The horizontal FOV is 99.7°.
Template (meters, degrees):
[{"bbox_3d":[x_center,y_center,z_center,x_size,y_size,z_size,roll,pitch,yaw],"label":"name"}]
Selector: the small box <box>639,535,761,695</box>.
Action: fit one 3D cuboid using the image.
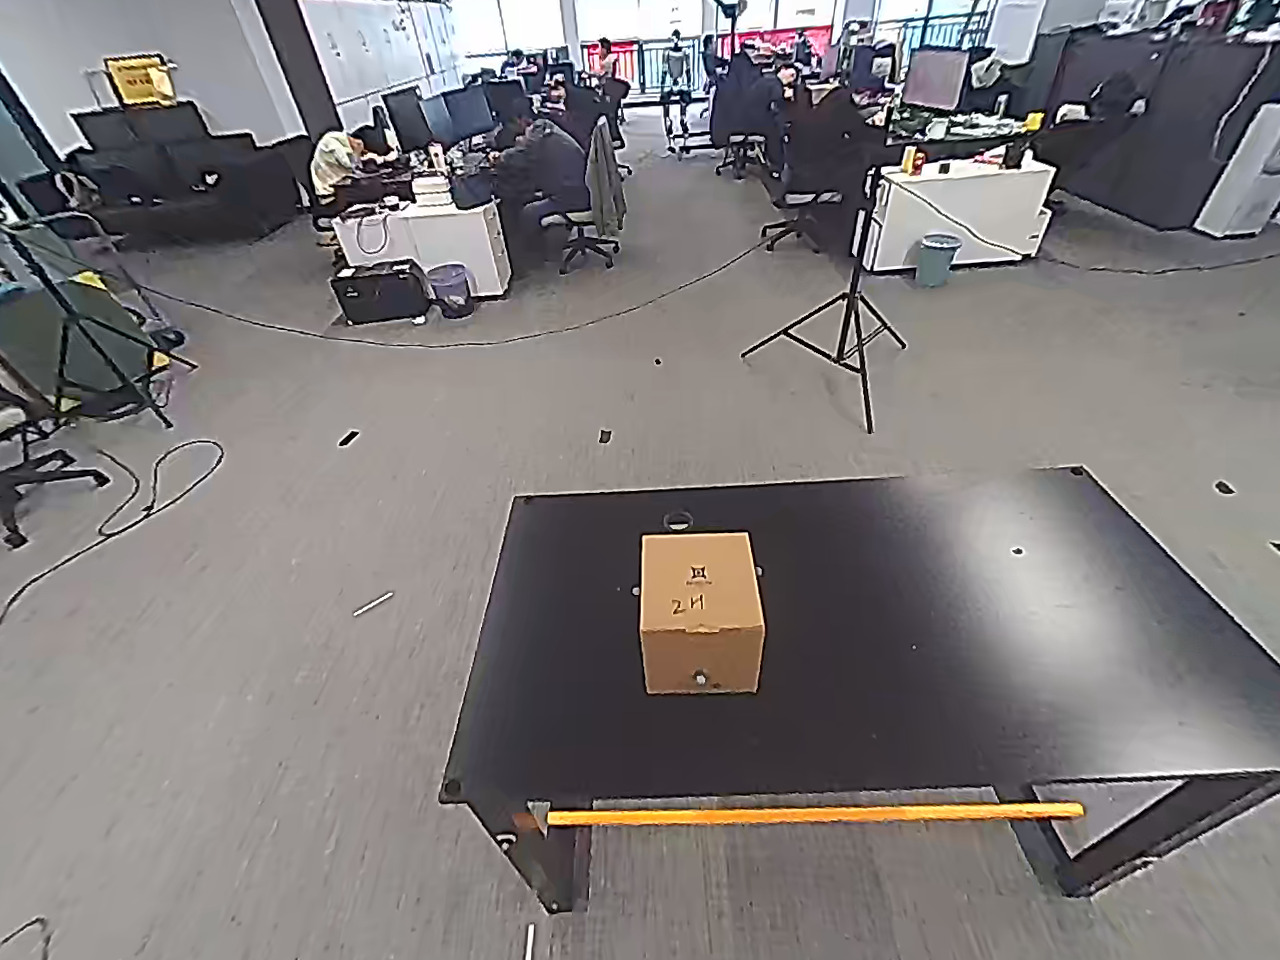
[{"bbox_3d":[0.087,0.205,0.829,0.168,0.176,0.179,-3,40,4],"label":"small box"}]
